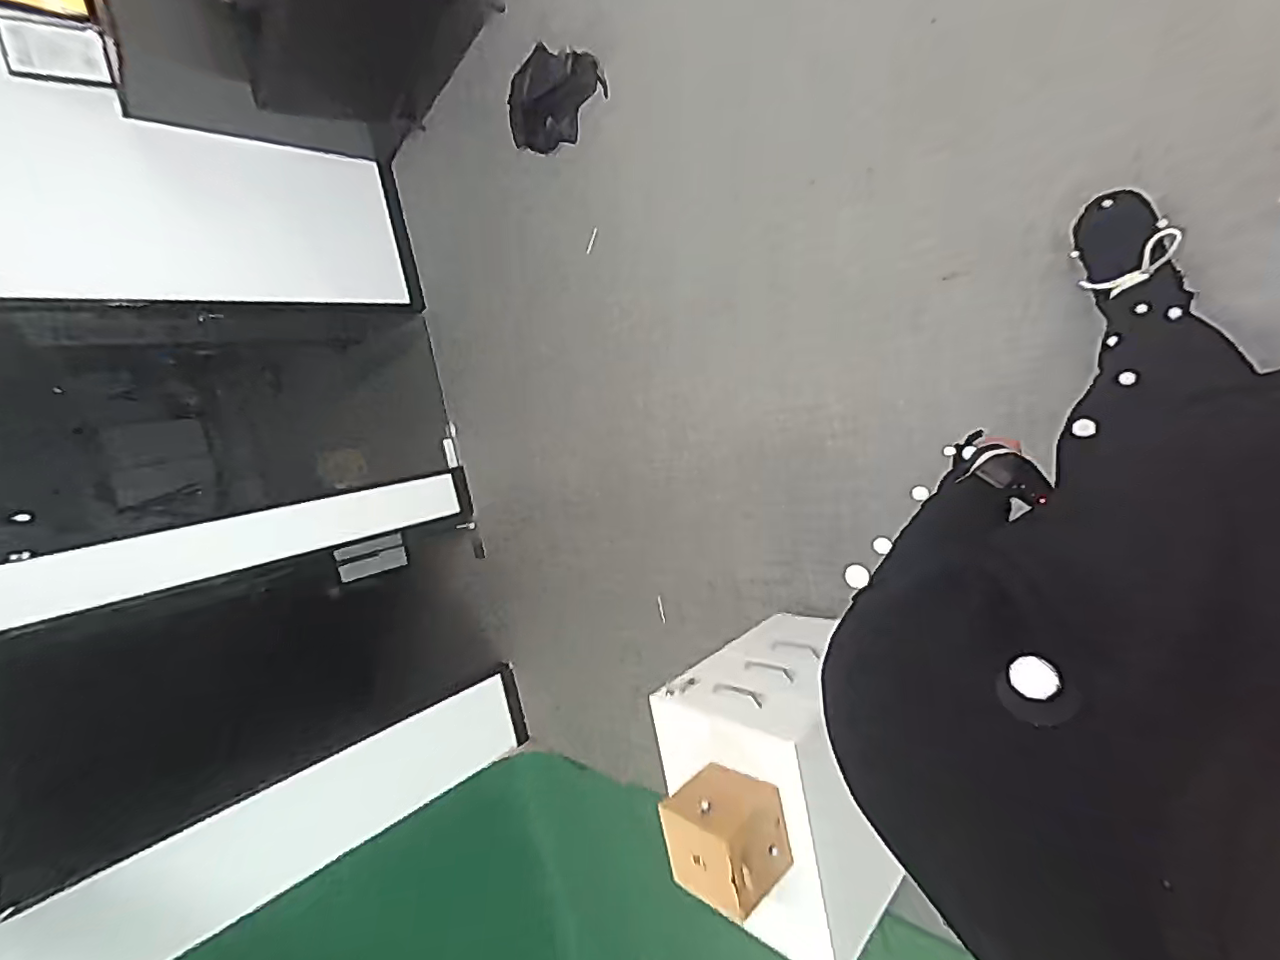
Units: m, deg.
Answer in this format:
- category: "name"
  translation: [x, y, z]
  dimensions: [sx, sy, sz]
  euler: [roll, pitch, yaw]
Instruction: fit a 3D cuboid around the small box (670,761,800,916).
- category: "small box"
  translation: [0.189, 0.694, 1.075]
  dimensions: [0.179, 0.176, 0.168]
  euler: [-8, 95, 48]
